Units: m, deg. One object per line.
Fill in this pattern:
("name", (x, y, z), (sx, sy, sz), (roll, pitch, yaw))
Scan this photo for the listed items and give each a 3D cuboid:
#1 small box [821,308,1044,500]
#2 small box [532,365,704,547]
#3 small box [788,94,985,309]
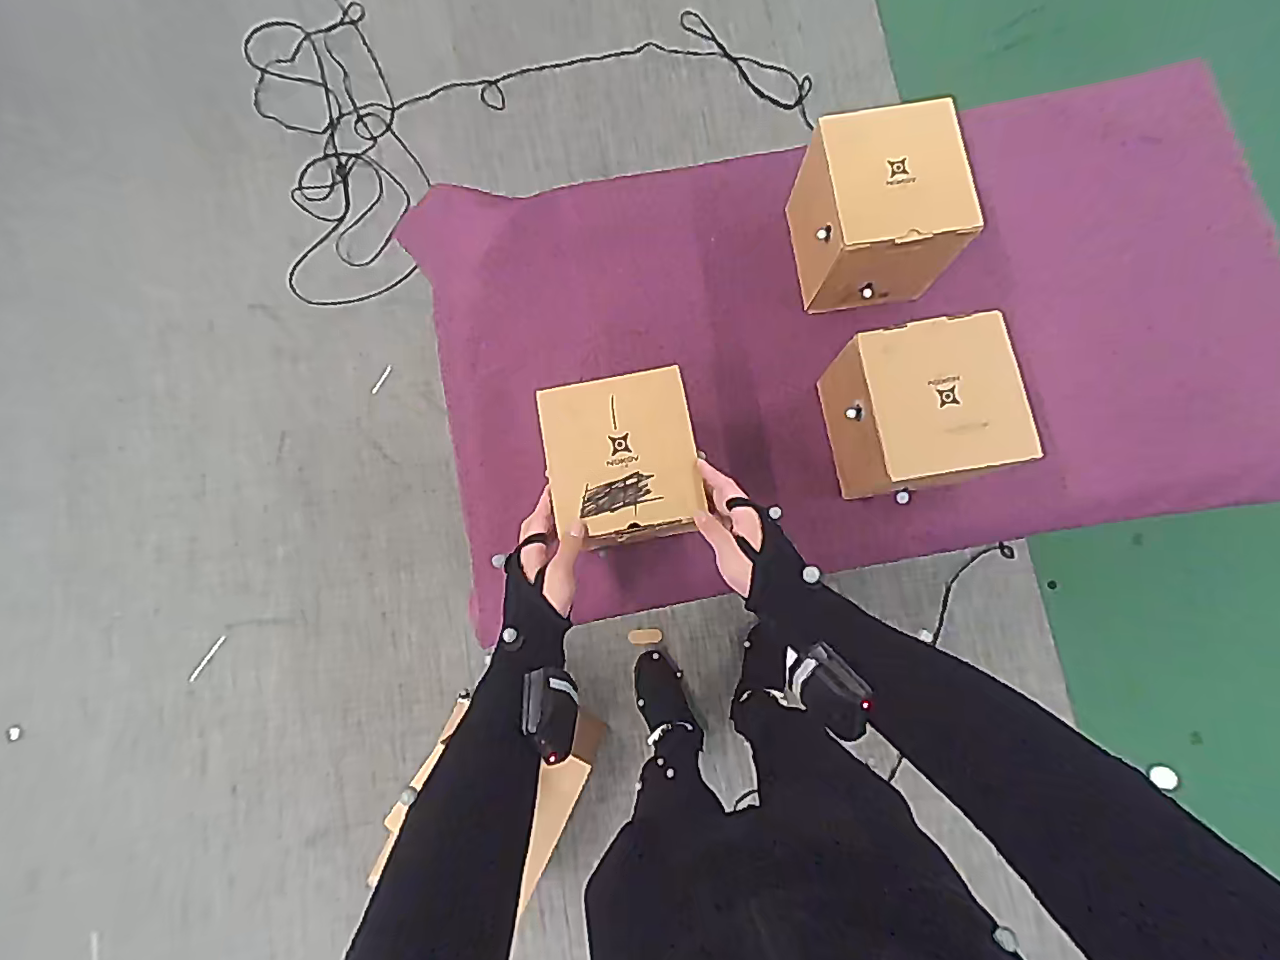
("small box", (0.336, -0.081, 0.661), (0.168, 0.176, 0.179), (-9, 80, 2))
("small box", (-0.021, -0.016, 0.658), (0.168, 0.176, 0.179), (-11, 79, 0))
("small box", (0.304, -0.351, 0.707), (0.168, 0.176, 0.179), (-8, 82, 1))
